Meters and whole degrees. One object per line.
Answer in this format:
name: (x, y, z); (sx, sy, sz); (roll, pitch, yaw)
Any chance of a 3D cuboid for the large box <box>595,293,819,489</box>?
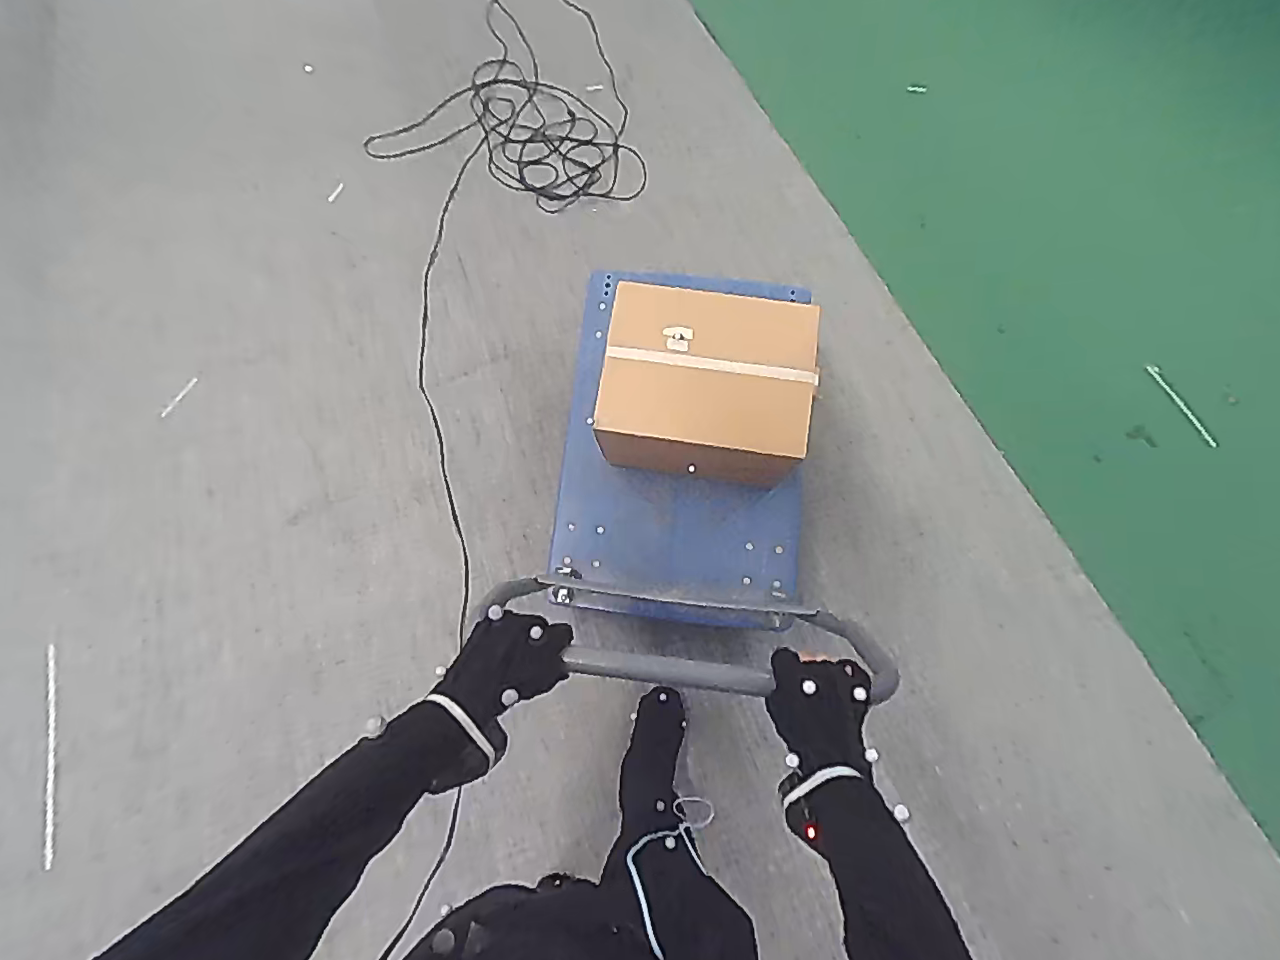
large box: (0.142, -0.174, 1.186); (0.408, 0.320, 0.320); (9, 79, 5)
